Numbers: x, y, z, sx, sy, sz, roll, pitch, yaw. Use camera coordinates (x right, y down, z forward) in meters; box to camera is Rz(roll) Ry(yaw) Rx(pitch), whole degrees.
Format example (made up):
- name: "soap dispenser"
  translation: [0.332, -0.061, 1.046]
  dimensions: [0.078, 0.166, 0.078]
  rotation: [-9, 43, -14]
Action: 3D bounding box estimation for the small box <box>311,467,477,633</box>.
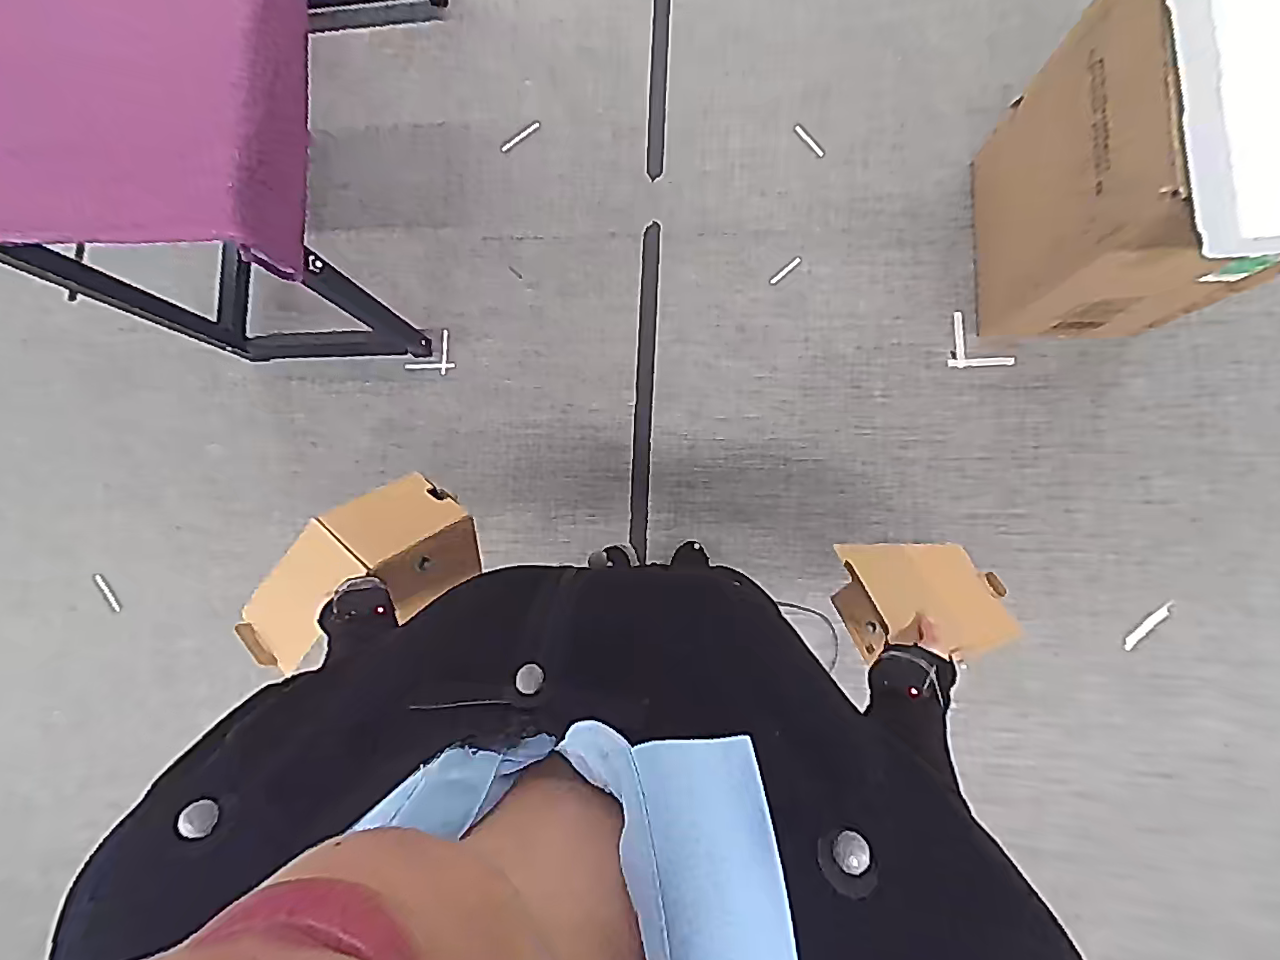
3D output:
- name: "small box"
  translation: [-0.390, 0.113, 0.884]
  dimensions: [0.168, 0.176, 0.179]
  rotation: [30, 45, 29]
